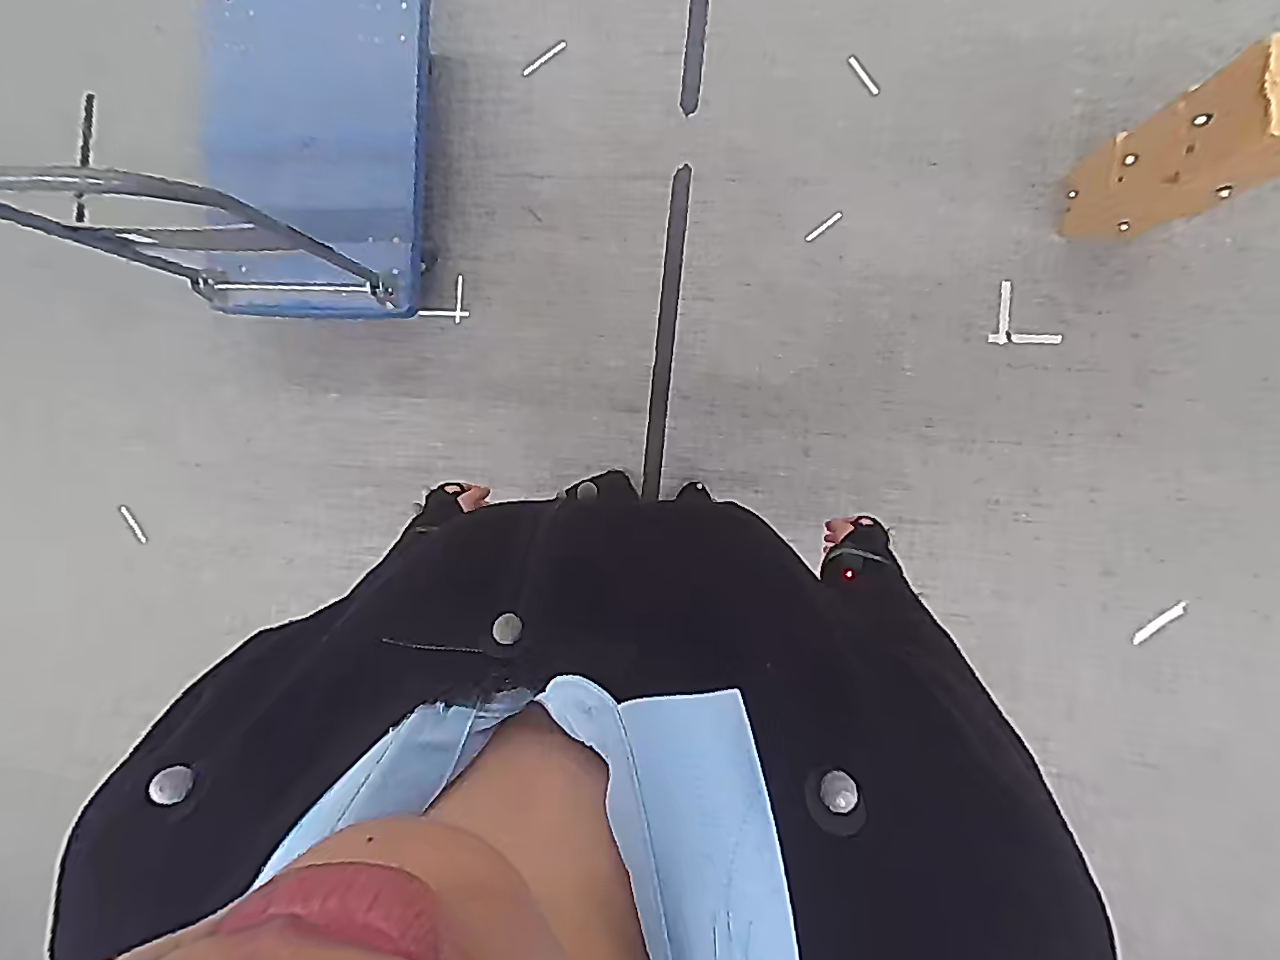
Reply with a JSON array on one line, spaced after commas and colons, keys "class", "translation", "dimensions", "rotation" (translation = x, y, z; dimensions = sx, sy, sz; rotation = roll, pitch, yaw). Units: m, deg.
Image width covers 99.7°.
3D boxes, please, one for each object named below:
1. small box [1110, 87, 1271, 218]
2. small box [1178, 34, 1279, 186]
[{"class": "small box", "translation": [1.129, -0.659, 1.106], "dimensions": [0.179, 0.176, 0.168], "rotation": [9, 92, 7]}, {"class": "small box", "translation": [1.110, -0.642, 0.945], "dimensions": [0.179, 0.176, 0.168], "rotation": [-3, 91, 7]}]
